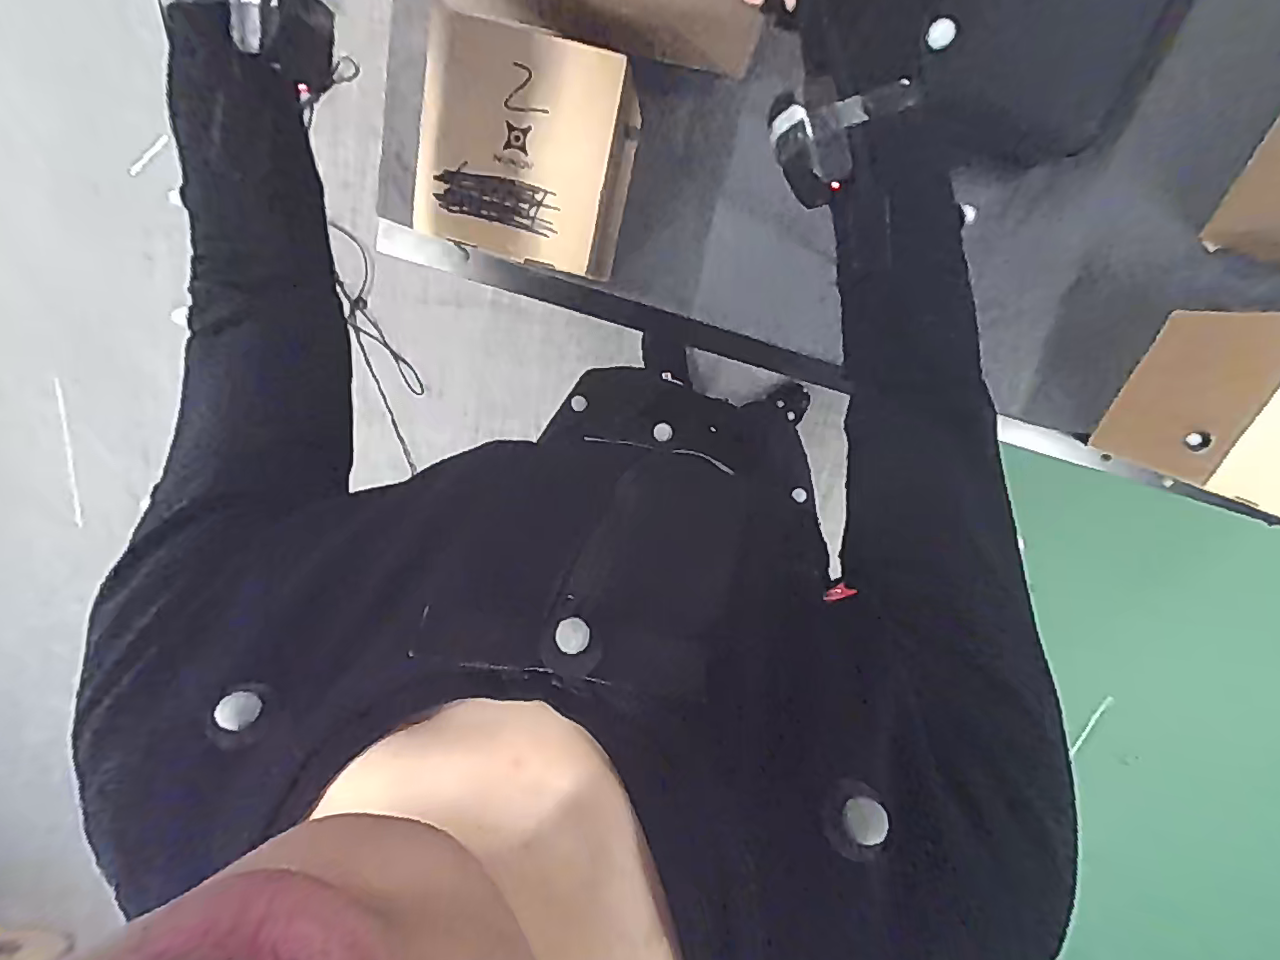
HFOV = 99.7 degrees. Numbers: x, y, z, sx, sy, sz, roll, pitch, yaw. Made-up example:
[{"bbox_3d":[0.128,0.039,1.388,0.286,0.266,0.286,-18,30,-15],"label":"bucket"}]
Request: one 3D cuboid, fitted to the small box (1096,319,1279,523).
[{"bbox_3d":[0.656,-0.063,0.578,0.168,0.176,0.179,19,110,-1],"label":"small box"}]
